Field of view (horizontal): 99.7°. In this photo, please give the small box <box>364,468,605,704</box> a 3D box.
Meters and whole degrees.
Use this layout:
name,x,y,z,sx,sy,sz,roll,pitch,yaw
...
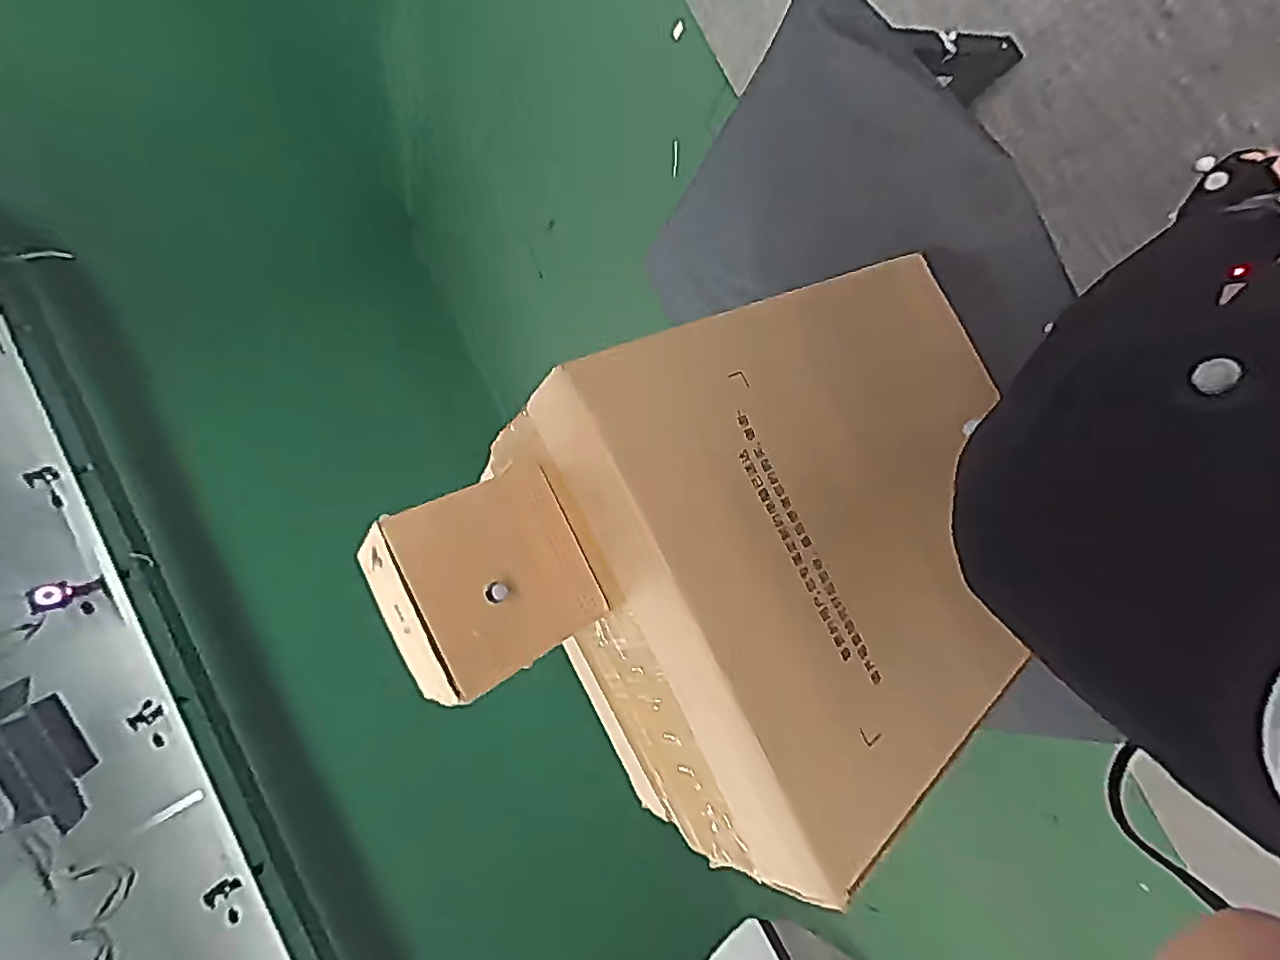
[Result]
name,x,y,z,sx,sy,sz,roll,pitch,yaw
small box,-0.166,0.111,0.577,0.168,0.176,0.179,-30,86,53
